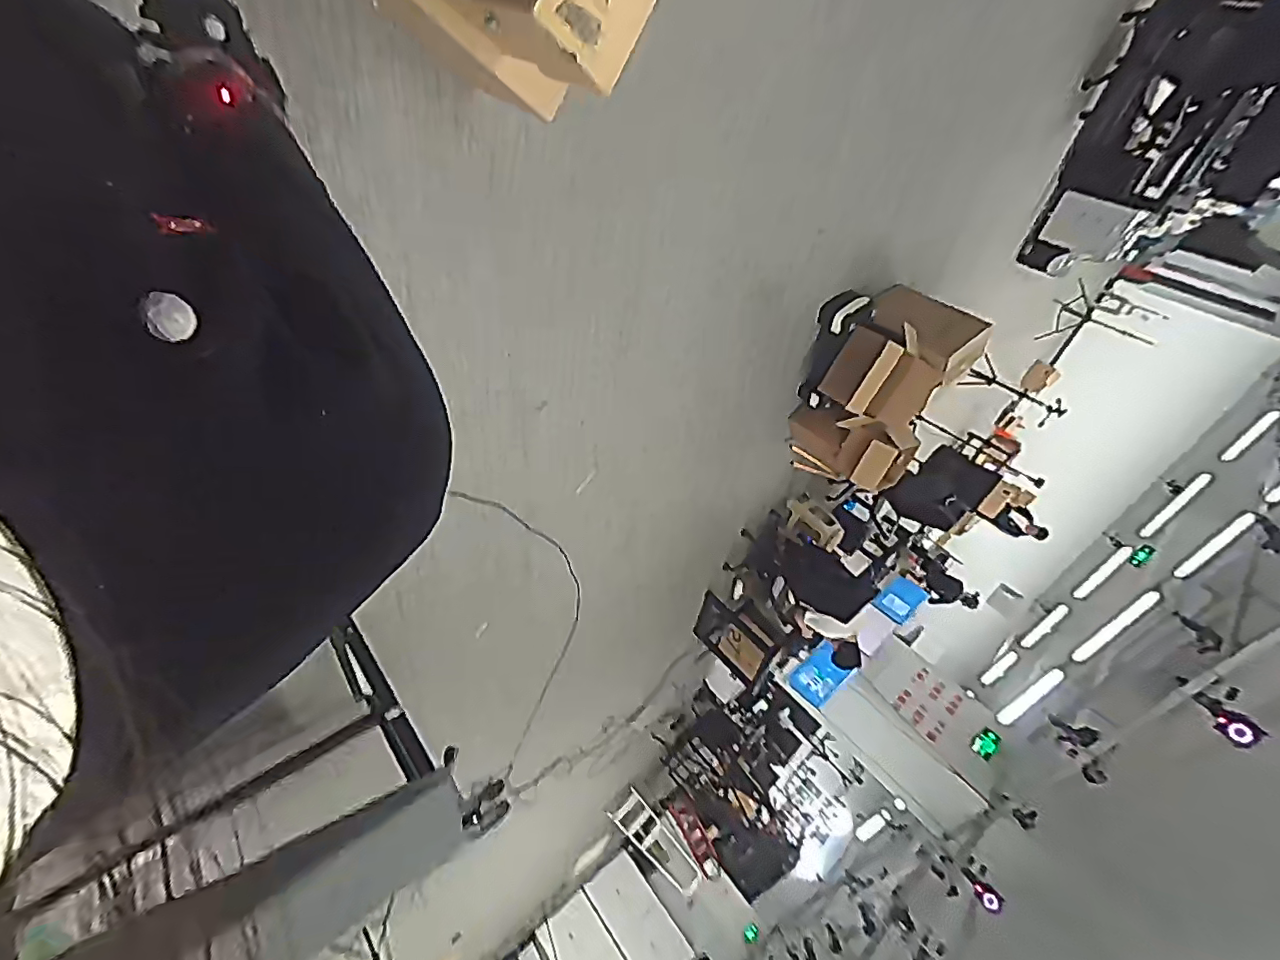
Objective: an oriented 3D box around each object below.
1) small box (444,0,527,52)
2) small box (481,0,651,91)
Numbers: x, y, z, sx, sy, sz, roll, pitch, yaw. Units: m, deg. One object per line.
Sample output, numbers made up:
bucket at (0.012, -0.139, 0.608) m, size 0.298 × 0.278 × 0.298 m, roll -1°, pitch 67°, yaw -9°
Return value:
small box at (-0.210, -0.816, 0.861) m, size 0.179 × 0.176 × 0.168 m, roll 1°, pitch 123°, yaw -53°
small box at (-0.109, -0.713, 0.775) m, size 0.168 × 0.176 × 0.179 m, roll 9°, pitch 116°, yaw -56°
